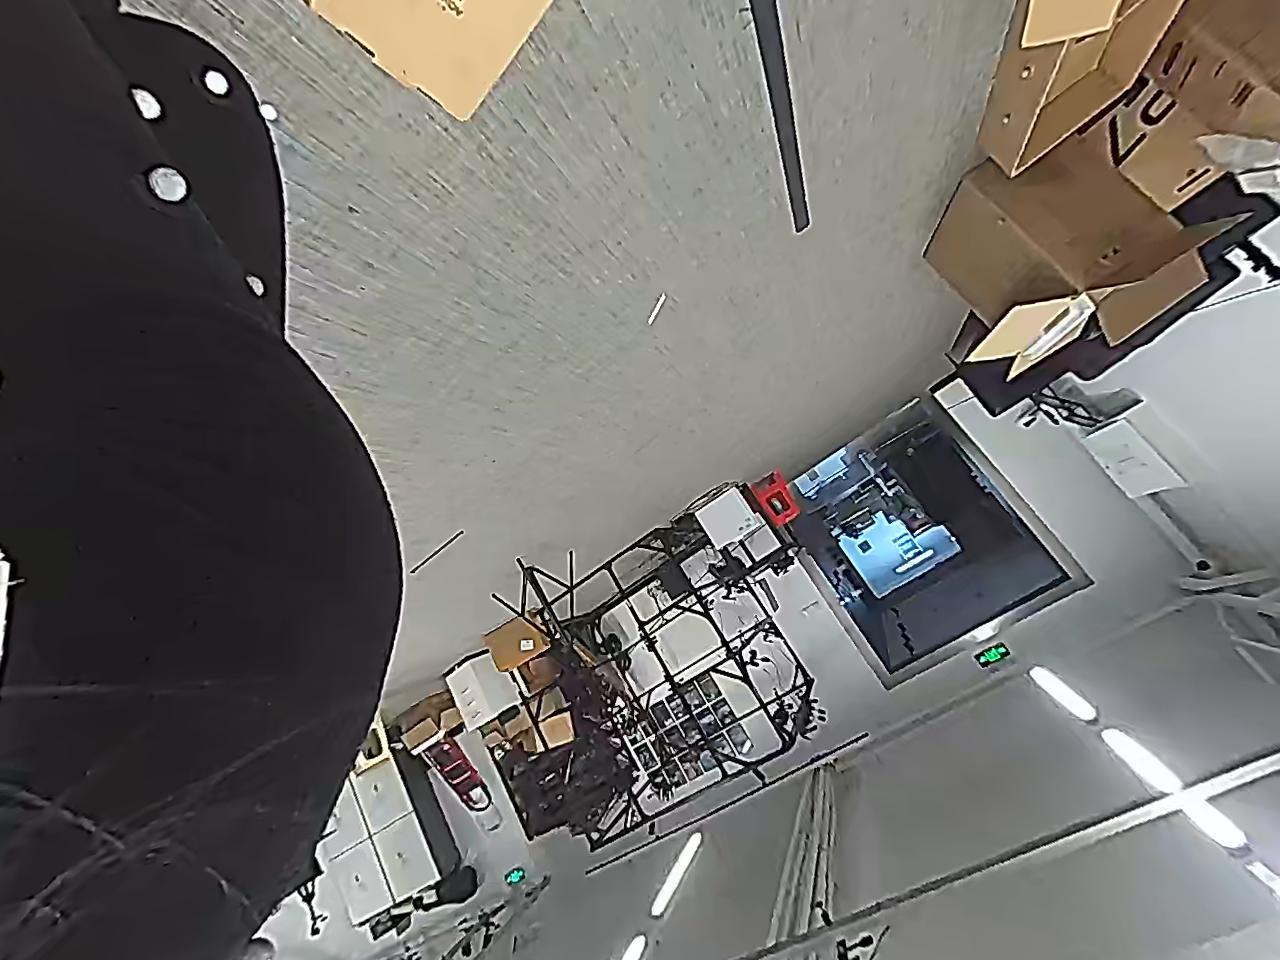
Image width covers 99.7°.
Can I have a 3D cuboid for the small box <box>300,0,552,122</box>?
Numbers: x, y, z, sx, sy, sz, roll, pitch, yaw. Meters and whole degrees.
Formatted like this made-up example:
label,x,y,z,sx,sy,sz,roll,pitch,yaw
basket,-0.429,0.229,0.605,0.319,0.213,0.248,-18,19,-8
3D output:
label,x,y,z,sx,sy,sz,roll,pitch,yaw
small box,-0.209,-0.492,0.490,0.179,0.176,0.168,-38,163,22
